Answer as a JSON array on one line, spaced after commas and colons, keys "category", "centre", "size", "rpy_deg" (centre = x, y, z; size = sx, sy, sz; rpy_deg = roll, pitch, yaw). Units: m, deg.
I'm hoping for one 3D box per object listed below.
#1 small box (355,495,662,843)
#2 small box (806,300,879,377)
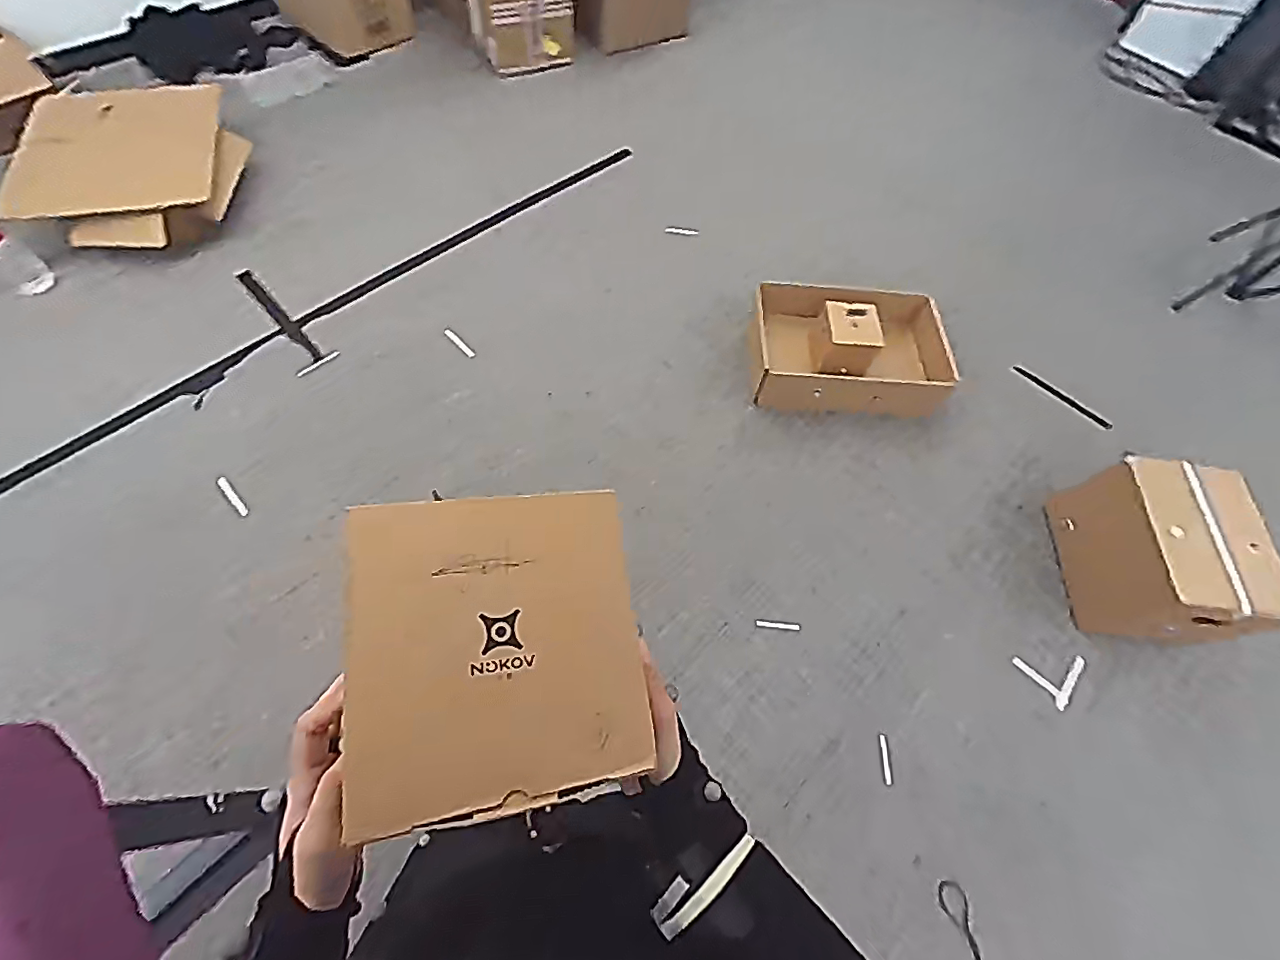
[{"category": "small box", "centre": [-0.098, 0.123, 0.389], "size": [0.168, 0.176, 0.179], "rpy_deg": [-3, 70, -19]}, {"category": "small box", "centre": [0.665, -0.470, 1.801], "size": [0.168, 0.176, 0.179], "rpy_deg": [2, 63, -3]}]
